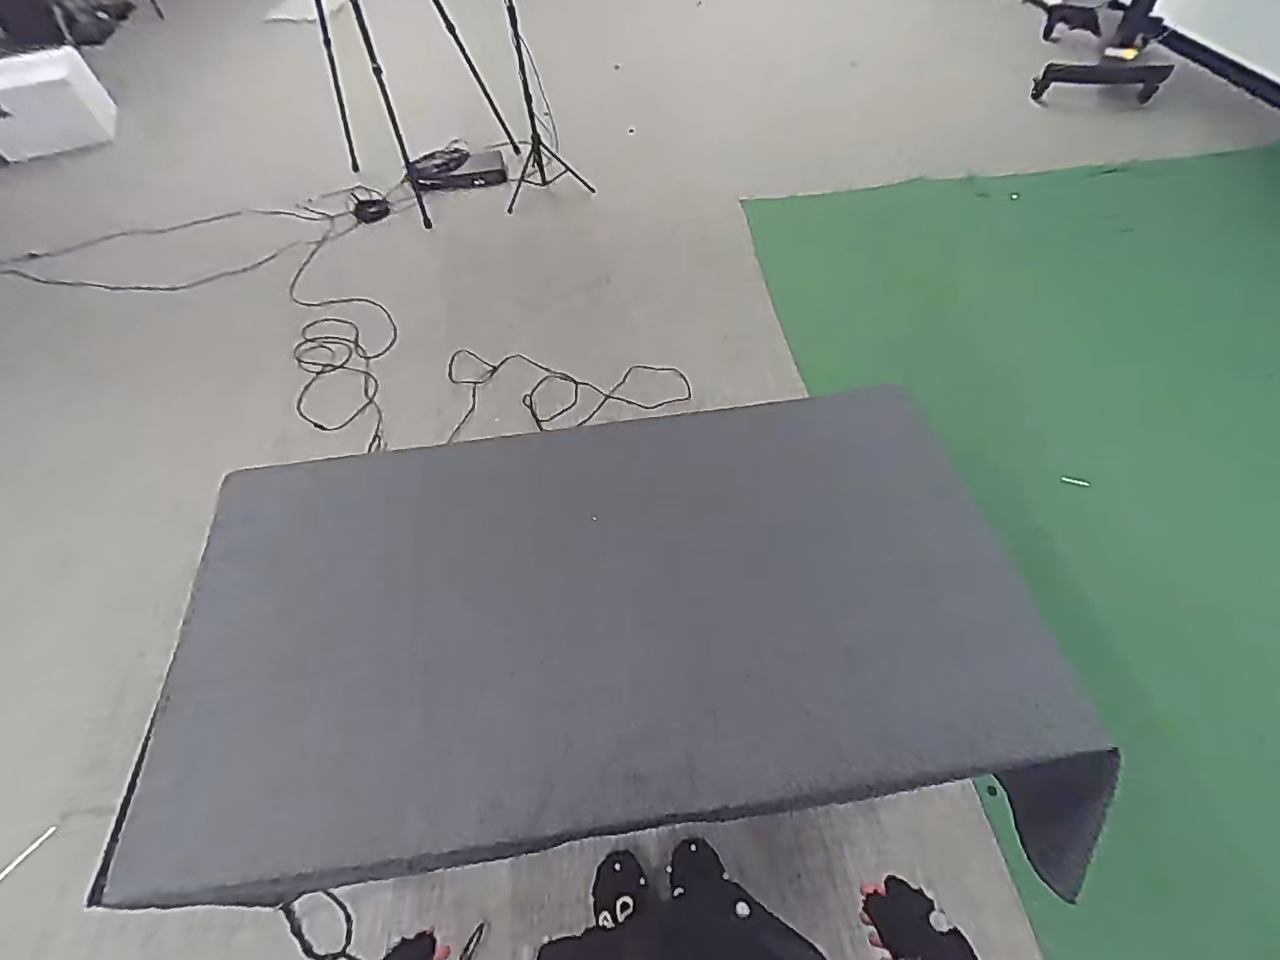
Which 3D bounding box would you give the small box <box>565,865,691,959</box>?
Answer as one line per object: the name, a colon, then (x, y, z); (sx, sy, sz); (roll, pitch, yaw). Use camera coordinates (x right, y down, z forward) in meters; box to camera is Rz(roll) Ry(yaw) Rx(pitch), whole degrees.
small box: (-0.027, 0.909, 1.081); (0.179, 0.176, 0.168); (15, 68, 33)
